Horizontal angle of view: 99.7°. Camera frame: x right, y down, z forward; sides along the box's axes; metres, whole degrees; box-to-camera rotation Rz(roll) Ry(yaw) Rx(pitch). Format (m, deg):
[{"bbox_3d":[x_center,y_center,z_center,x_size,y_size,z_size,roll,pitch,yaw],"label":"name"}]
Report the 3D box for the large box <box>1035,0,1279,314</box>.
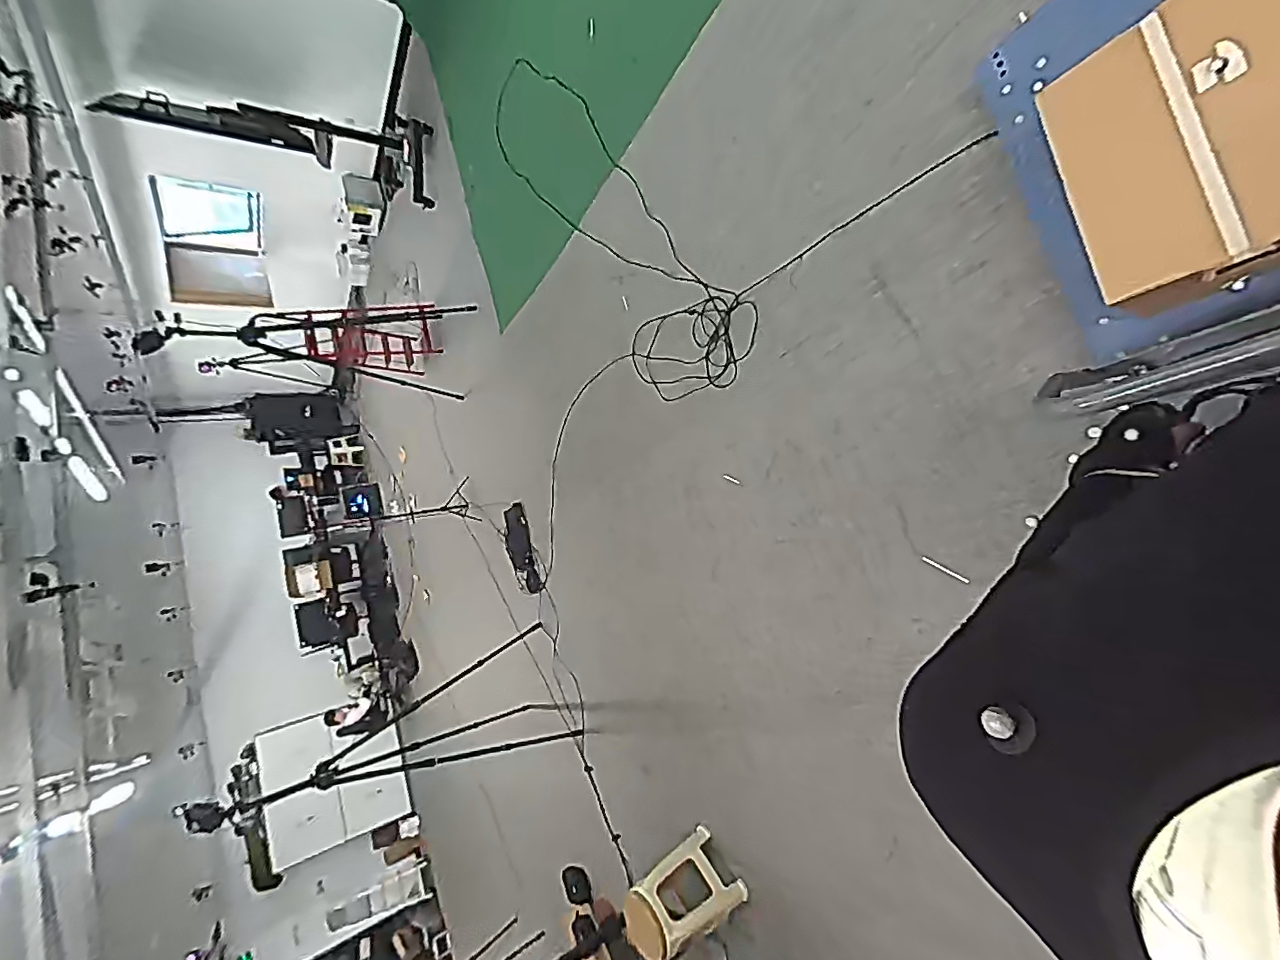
[{"bbox_3d":[0.943,-0.536,0.892,0.320,0.320,0.408,-21,79,52],"label":"large box"}]
